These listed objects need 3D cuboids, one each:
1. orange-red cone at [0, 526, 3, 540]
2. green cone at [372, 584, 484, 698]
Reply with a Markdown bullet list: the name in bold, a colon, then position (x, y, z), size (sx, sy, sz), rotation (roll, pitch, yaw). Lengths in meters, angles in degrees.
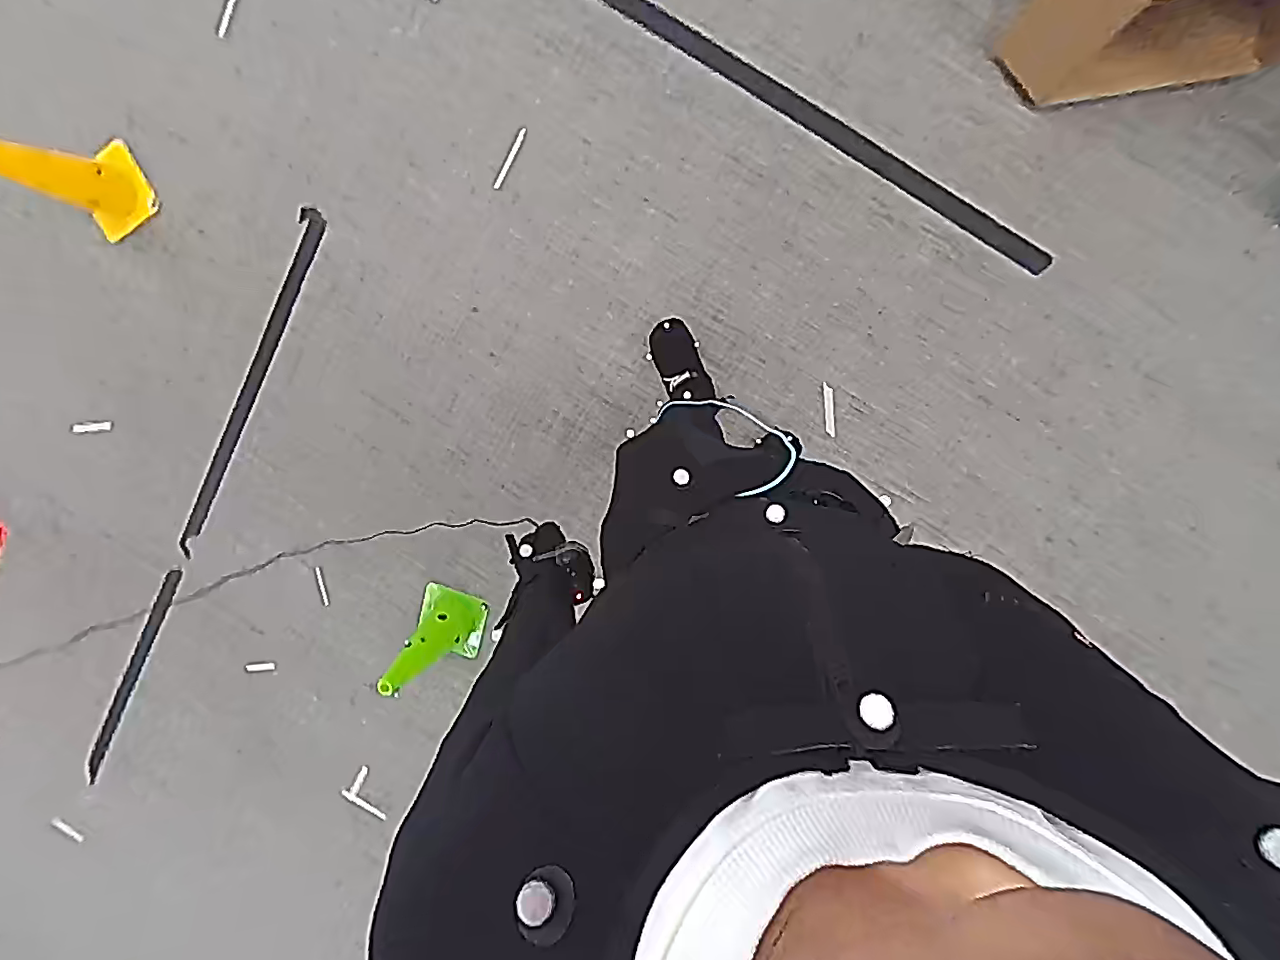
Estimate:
- **orange-red cone**: position (-2.261, 0.207, 1.644), size (0.198, 0.360, 0.199), rotation (40, 103, -2)
- **green cone**: position (-0.601, 0.462, 1.465), size (0.200, 0.368, 0.202), rotation (18, 105, 5)
